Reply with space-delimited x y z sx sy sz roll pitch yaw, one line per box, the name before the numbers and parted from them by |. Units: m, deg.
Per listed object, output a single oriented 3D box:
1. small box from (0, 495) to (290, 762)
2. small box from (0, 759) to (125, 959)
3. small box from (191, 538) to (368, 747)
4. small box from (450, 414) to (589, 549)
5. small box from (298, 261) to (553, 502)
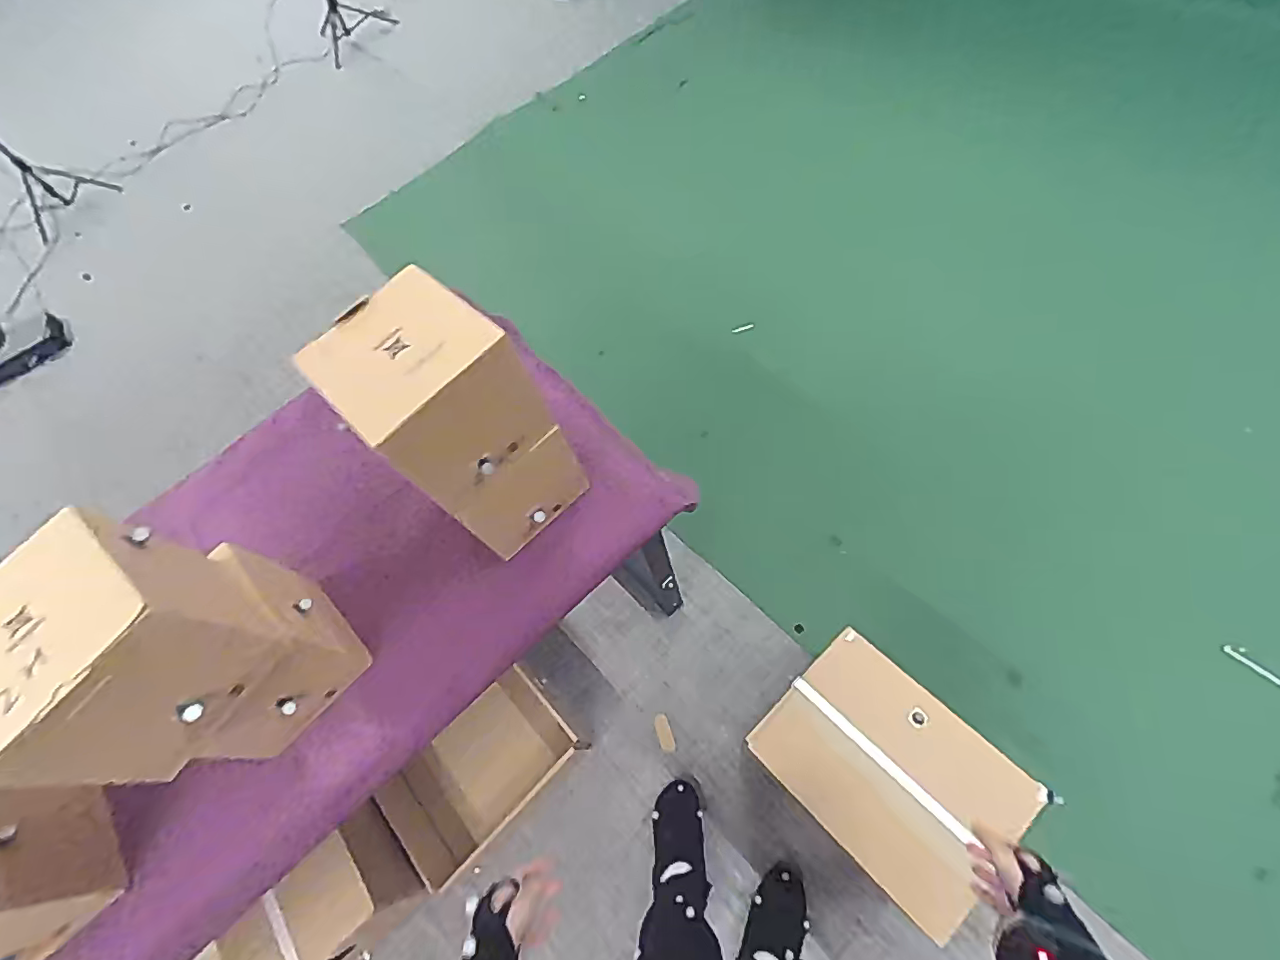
small box | -0.500 0.150 0.525 0.179 0.176 0.168 32 73 22
small box | -0.746 0.439 0.604 0.168 0.176 0.179 -40 65 -12
small box | -0.487 0.208 0.681 0.179 0.176 0.168 38 74 24
small box | -0.199 -0.032 0.757 0.168 0.176 0.179 -42 64 -12
small box | -0.229 -0.104 0.614 0.179 0.176 0.168 39 76 25
